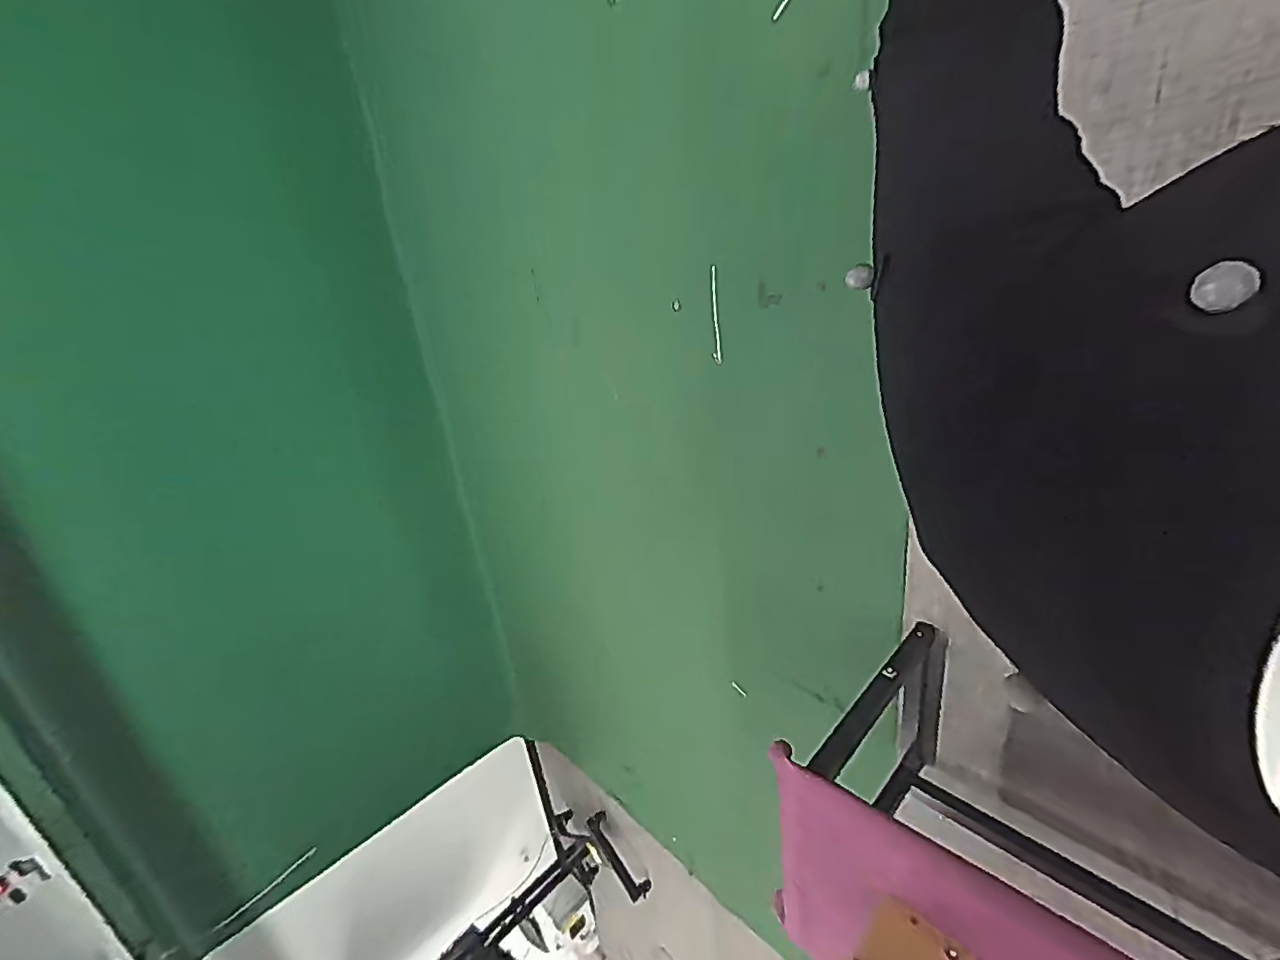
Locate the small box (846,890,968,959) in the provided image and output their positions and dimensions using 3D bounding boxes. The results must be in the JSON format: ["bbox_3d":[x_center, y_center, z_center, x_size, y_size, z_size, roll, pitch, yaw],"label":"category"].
[{"bbox_3d":[0.505,0.952,1.037,0.168,0.176,0.179,22,125,43],"label":"small box"}]
